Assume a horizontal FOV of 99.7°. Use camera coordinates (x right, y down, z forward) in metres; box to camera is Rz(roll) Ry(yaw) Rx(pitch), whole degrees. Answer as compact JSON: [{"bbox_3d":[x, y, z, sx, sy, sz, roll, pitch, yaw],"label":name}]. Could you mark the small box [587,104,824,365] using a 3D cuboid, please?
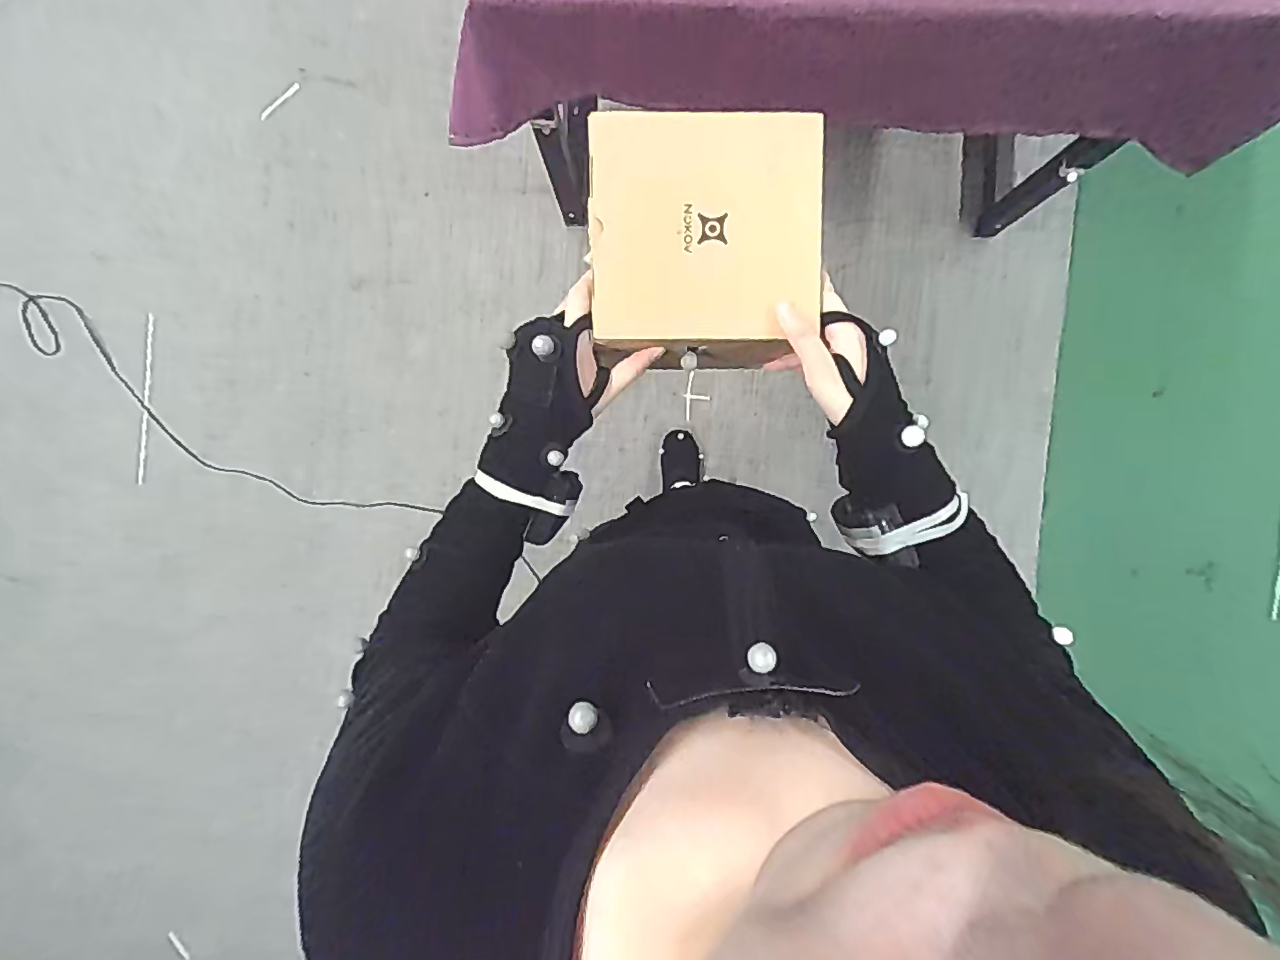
[{"bbox_3d":[0.046,-0.197,0.480,0.179,0.176,0.168,0,94,-1],"label":"small box"}]
